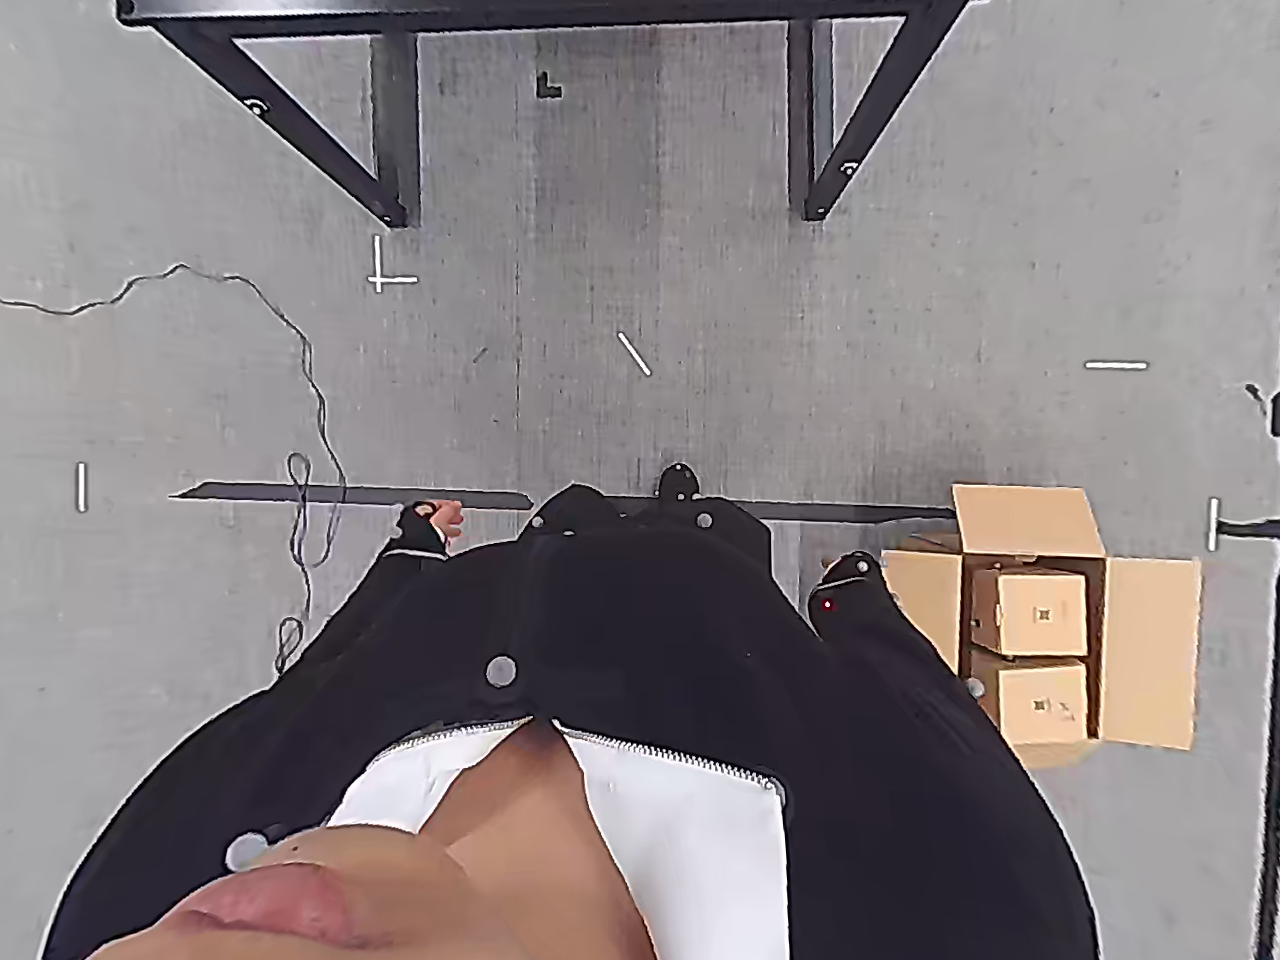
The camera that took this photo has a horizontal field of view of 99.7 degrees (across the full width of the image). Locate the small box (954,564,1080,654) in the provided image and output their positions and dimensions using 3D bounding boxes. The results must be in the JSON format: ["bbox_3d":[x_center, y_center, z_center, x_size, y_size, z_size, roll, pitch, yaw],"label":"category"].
[{"bbox_3d":[0.823,0.281,1.200,0.179,0.176,0.168,-1,89,1],"label":"small box"}]

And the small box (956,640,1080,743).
[{"bbox_3d":[0.830,0.461,1.206,0.179,0.176,0.168,-5,96,3],"label":"small box"}]
